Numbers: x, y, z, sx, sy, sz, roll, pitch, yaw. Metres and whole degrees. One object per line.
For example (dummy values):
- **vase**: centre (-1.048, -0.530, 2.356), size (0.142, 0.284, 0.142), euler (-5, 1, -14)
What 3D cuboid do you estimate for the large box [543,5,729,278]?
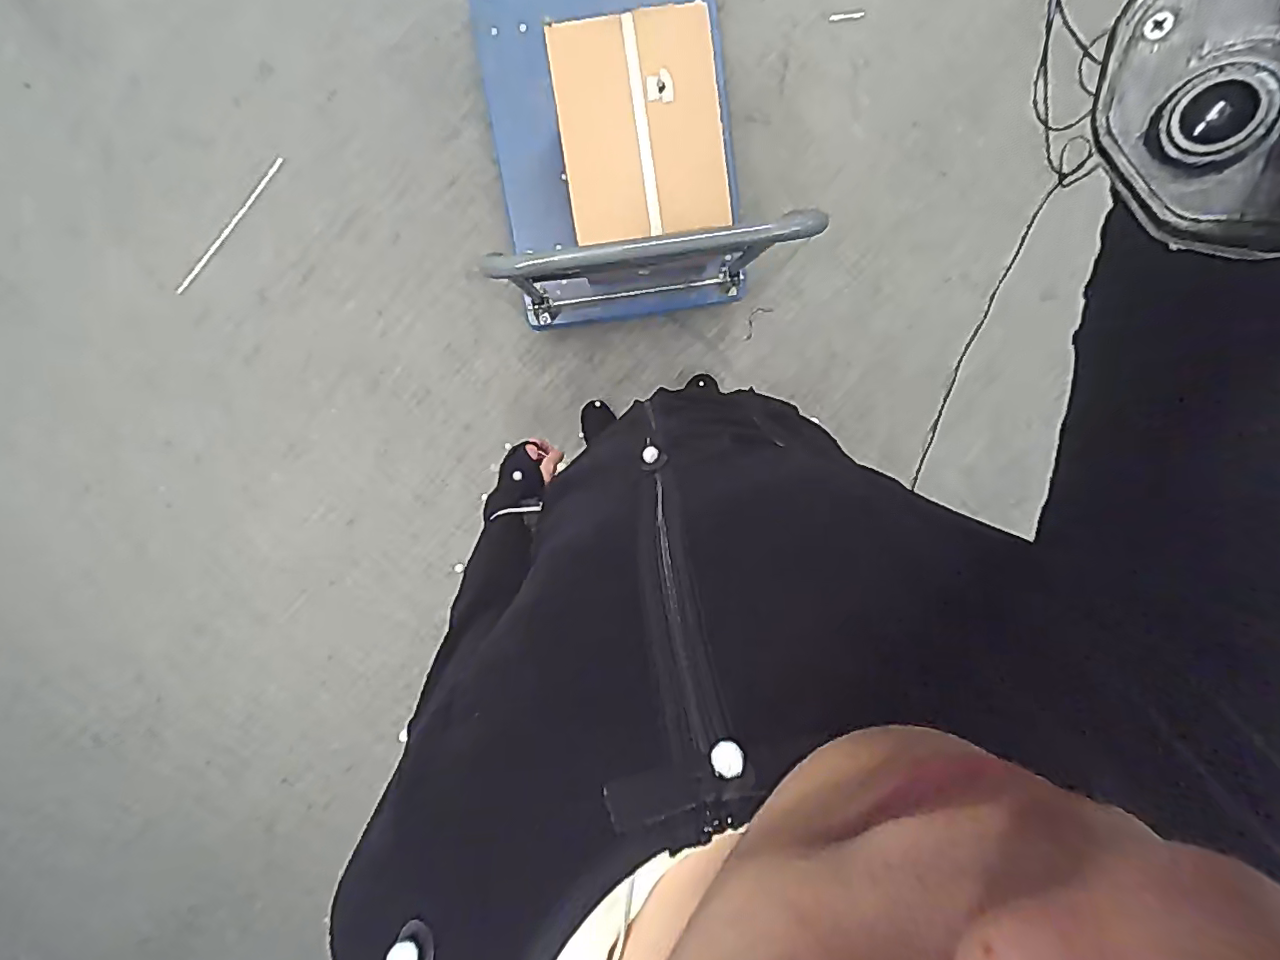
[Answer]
- **large box**: centre (-0.005, -0.709, 1.205), size (0.320, 0.320, 0.408), euler (-9, 98, -1)
